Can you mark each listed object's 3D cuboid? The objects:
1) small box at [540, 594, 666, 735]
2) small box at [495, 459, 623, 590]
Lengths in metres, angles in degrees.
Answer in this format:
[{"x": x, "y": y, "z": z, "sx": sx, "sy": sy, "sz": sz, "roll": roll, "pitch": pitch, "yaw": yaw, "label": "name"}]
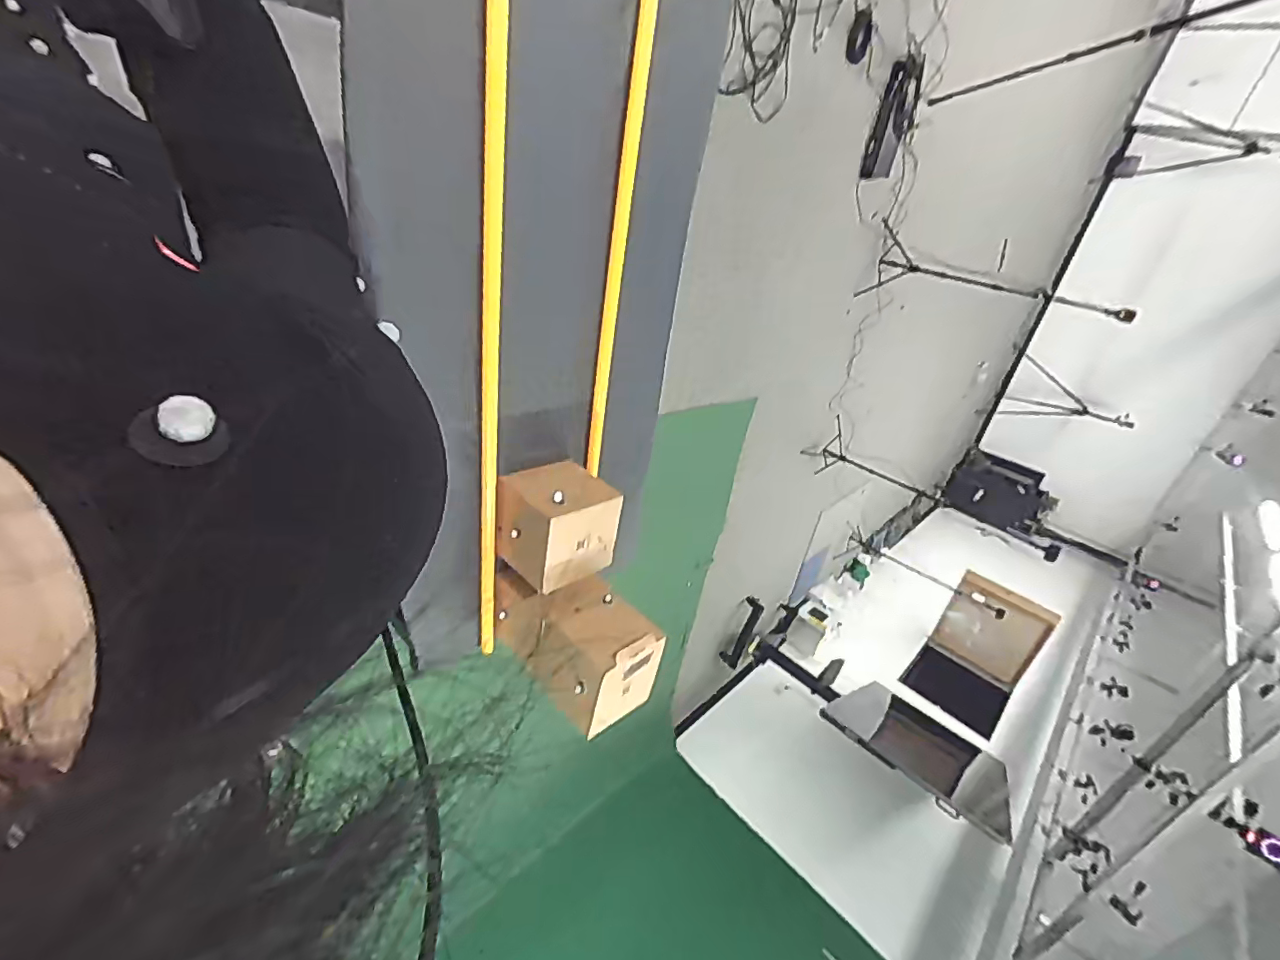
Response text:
[{"x": -0.077, "y": 0.346, "z": 1.058, "sx": 0.168, "sy": 0.176, "sz": 0.179, "roll": -15, "pitch": 127, "yaw": -44, "label": "small box"}, {"x": -0.161, "y": 0.077, "z": 1.041, "sx": 0.179, "sy": 0.176, "sz": 0.168, "roll": -18, "pitch": 129, "yaw": -44, "label": "small box"}]
